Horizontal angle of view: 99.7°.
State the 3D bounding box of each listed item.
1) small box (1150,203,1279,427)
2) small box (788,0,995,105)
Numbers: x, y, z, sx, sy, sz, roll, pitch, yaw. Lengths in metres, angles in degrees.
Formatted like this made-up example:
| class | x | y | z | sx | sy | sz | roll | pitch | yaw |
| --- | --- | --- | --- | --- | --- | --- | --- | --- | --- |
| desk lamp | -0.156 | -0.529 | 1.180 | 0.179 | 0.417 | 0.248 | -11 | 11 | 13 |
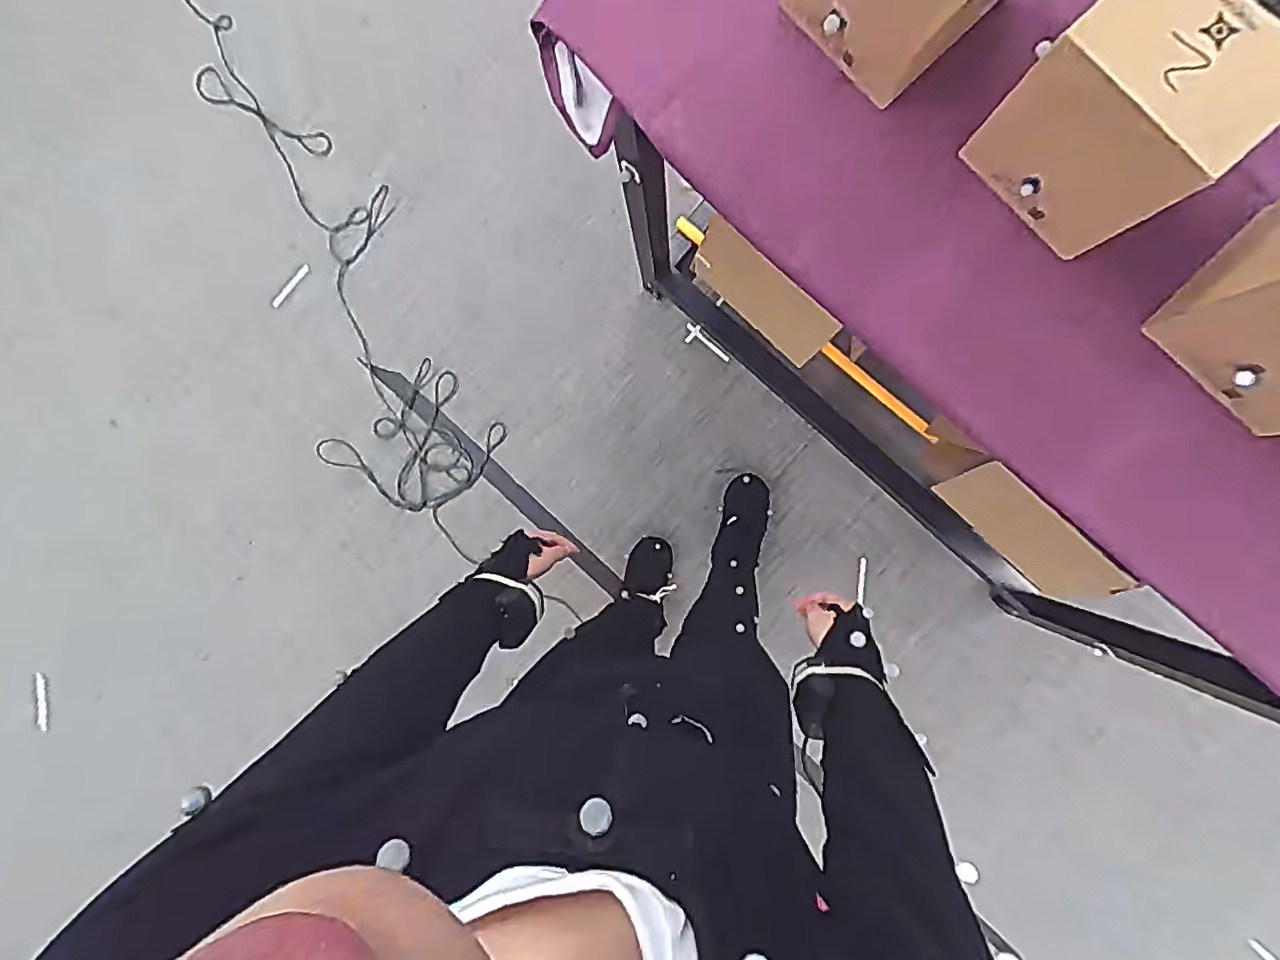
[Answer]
| class | x | y | z | sx | sy | sz | roll | pitch | yaw |
| --- | --- | --- | --- | --- | --- | --- | --- | --- | --- |
| small box | 0.640 | -0.168 | 0.486 | 0.168 | 0.176 | 0.179 | 45 | 93 | 3 |
| small box | 0.265 | -0.517 | 0.507 | 0.179 | 0.176 | 0.168 | -42 | 88 | 5 |
